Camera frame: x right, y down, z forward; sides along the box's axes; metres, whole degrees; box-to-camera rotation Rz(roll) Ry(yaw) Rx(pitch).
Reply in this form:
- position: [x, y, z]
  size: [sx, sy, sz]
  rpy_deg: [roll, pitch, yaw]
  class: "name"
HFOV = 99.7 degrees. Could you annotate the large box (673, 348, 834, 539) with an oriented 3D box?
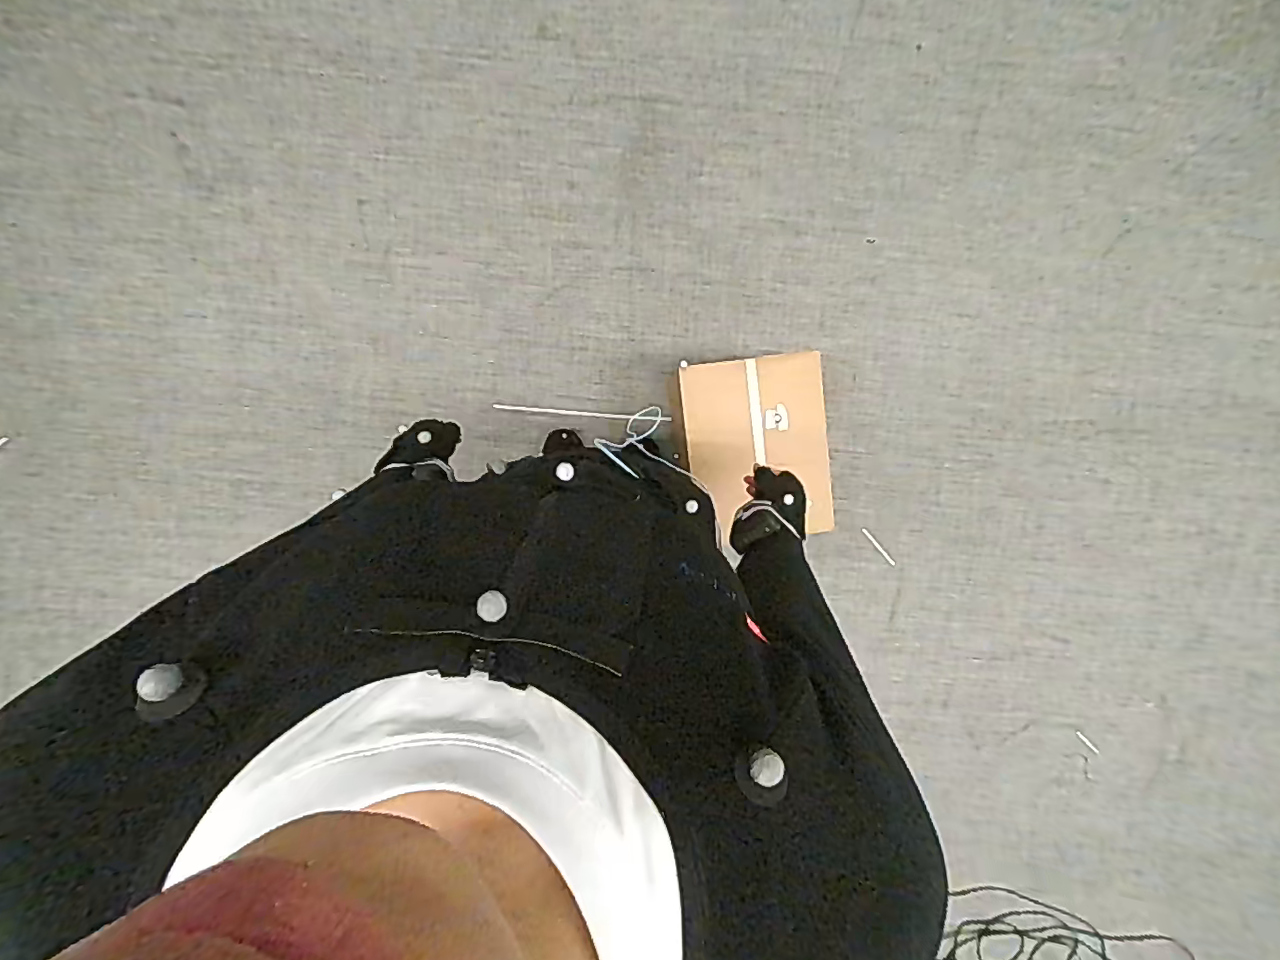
- position: [0.265, -0.091, 1.360]
  size: [0.320, 0.320, 0.408]
  rpy_deg: [-7, 96, -1]
  class: "large box"
